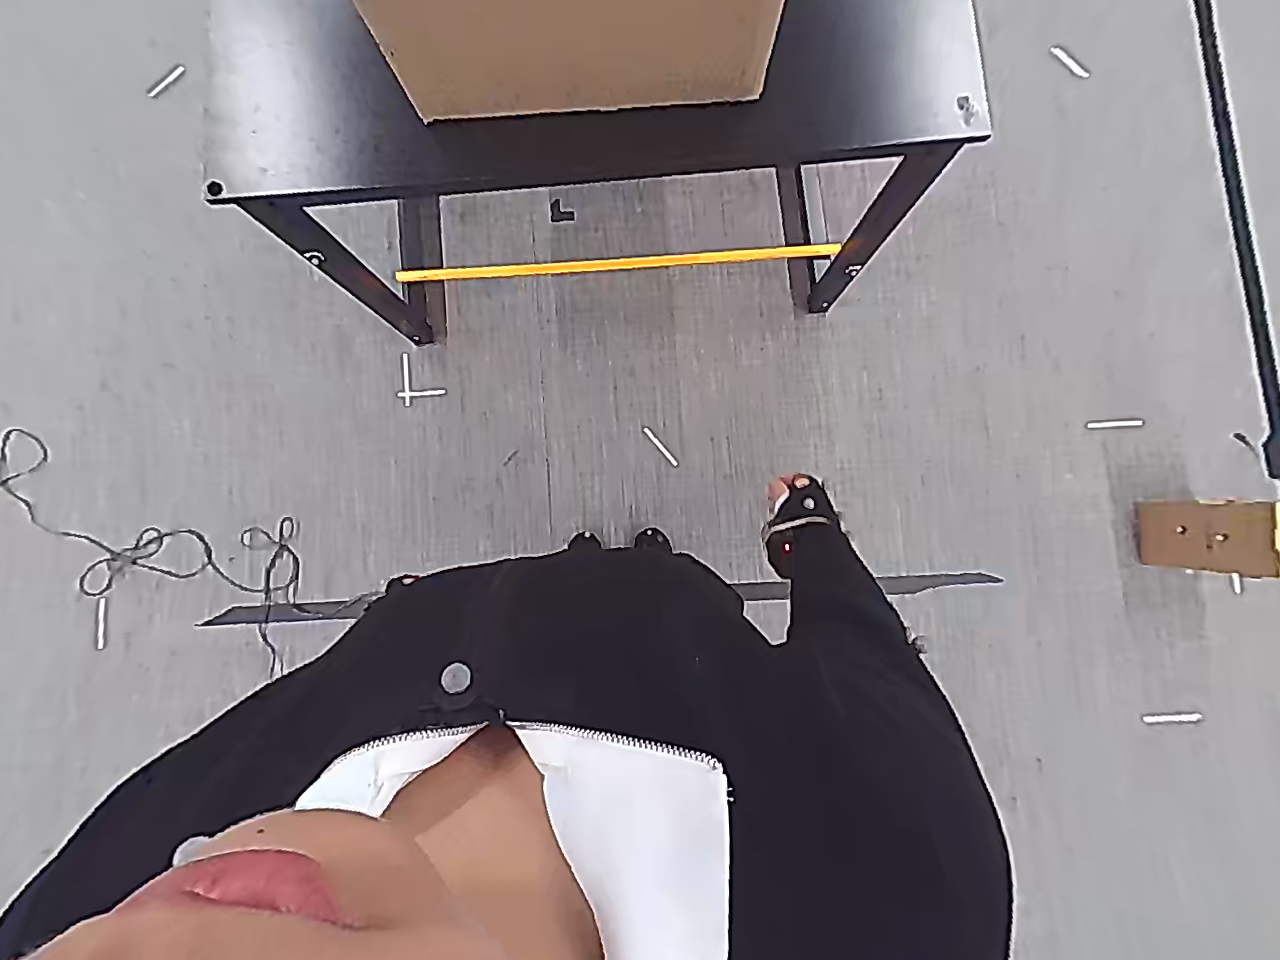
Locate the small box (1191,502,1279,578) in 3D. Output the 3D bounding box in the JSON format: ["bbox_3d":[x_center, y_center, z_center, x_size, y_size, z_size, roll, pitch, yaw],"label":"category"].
[{"bbox_3d":[1.443,0.135,1.247,0.179,0.176,0.168,0,85,1],"label":"small box"}]

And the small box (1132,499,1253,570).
[{"bbox_3d":[1.439,0.141,1.412,0.168,0.176,0.179,0,86,1],"label":"small box"}]
